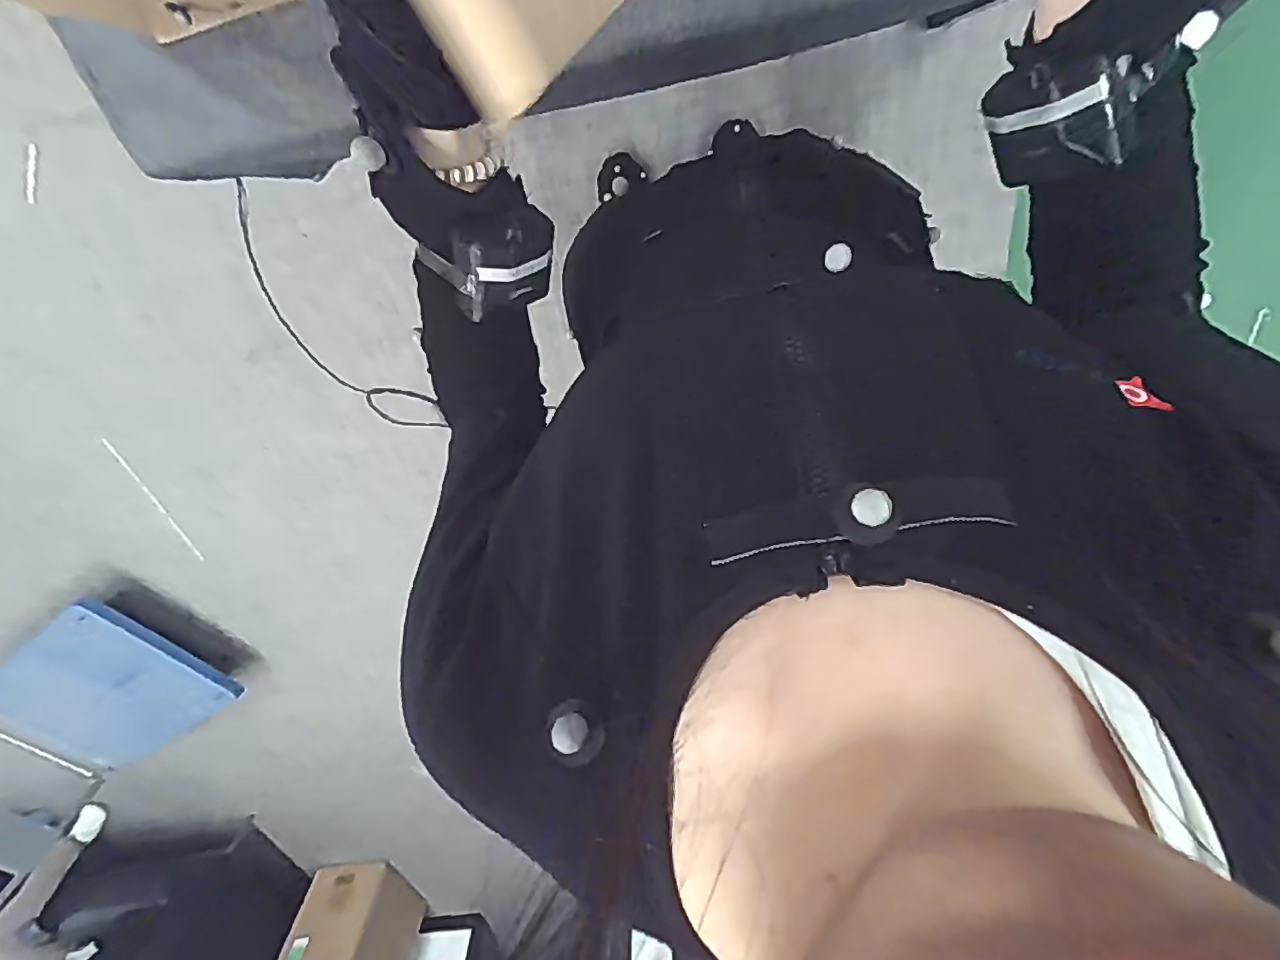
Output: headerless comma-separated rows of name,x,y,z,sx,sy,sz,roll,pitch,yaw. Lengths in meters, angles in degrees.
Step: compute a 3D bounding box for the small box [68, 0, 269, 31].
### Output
small box,-0.414,-0.481,0.406,0.168,0.176,0.179,-11,121,7
